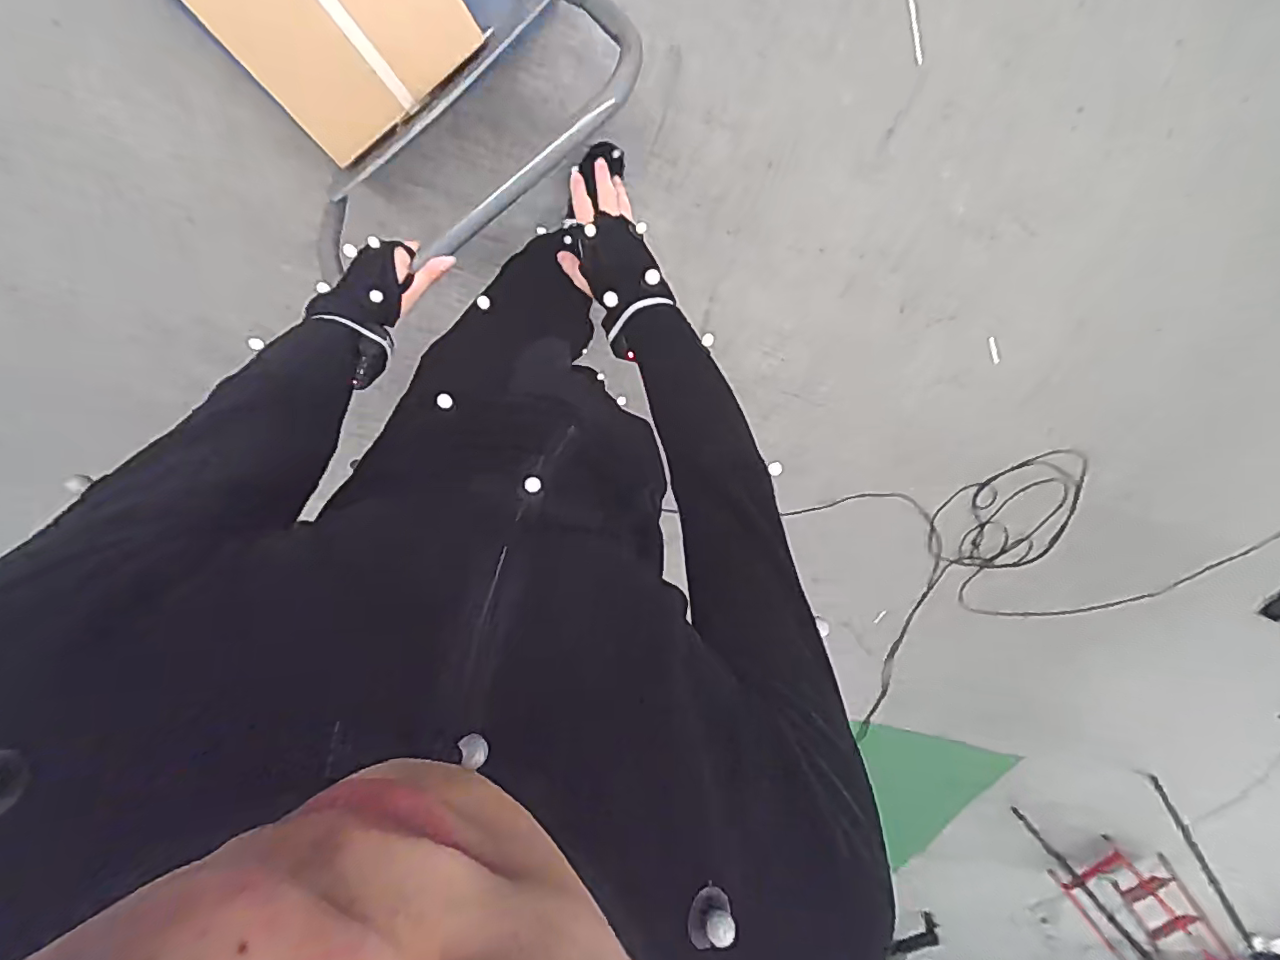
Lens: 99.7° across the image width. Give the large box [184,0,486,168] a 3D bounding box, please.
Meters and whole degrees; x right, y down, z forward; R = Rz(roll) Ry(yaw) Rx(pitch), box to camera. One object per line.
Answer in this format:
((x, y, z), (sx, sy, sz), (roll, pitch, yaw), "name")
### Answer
((-0.496, -0.795, 0.840), (0.320, 0.320, 0.408), (-34, 133, 11), "large box")
